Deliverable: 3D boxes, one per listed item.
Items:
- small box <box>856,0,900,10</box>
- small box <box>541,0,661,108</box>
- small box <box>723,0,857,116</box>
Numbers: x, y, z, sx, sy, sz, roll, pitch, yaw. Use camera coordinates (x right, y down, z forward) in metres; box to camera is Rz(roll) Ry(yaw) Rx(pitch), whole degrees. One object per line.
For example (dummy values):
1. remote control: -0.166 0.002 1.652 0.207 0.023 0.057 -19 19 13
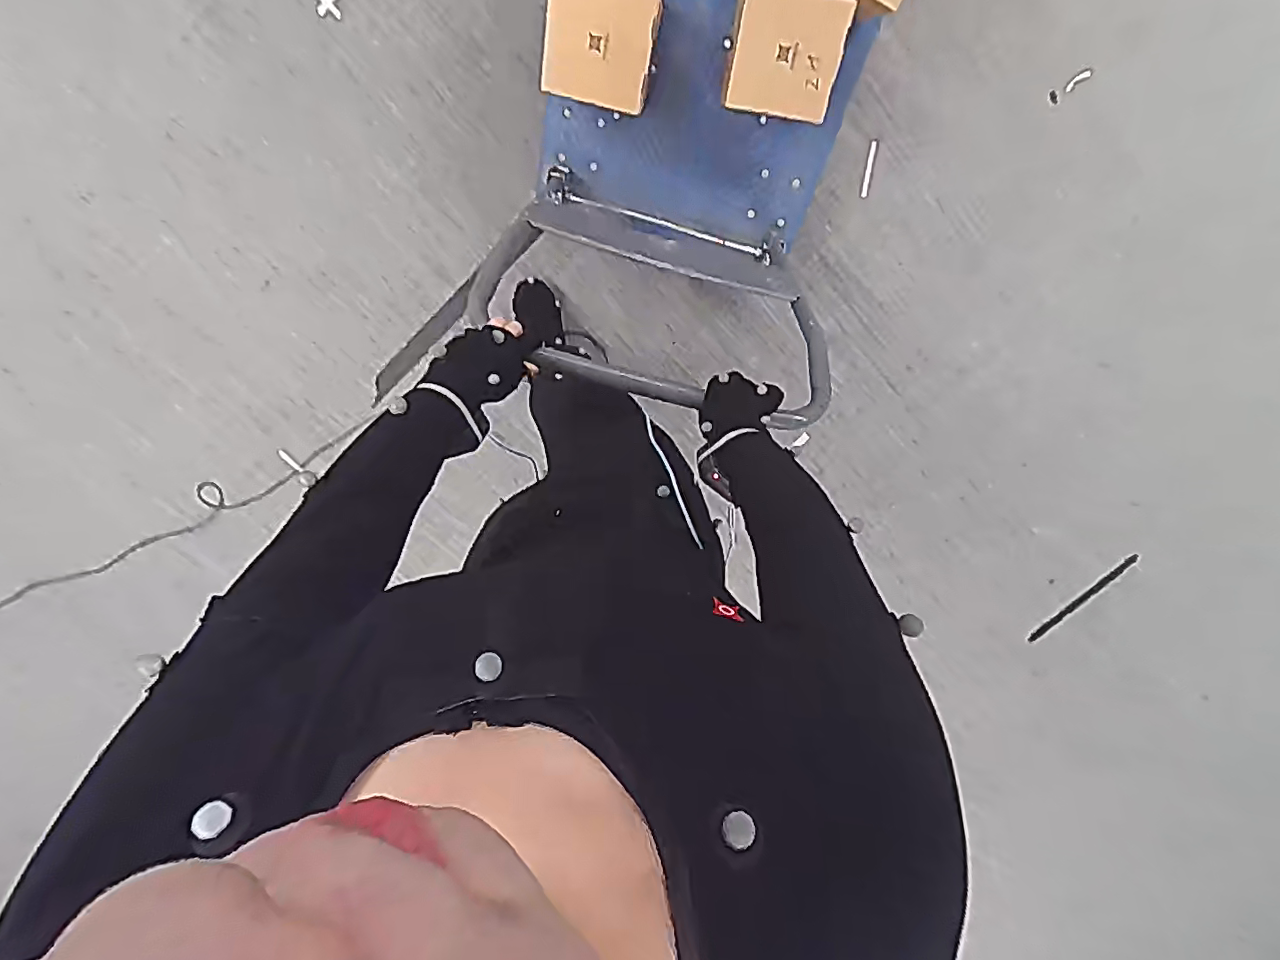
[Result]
1. small box: 0.366 -0.875 0.835 0.168 0.176 0.179 21 126 -11
2. small box: -0.065 -0.771 0.945 0.179 0.176 0.168 10 127 -6
3. small box: 0.247 -0.748 0.940 0.179 0.176 0.168 9 128 -2
